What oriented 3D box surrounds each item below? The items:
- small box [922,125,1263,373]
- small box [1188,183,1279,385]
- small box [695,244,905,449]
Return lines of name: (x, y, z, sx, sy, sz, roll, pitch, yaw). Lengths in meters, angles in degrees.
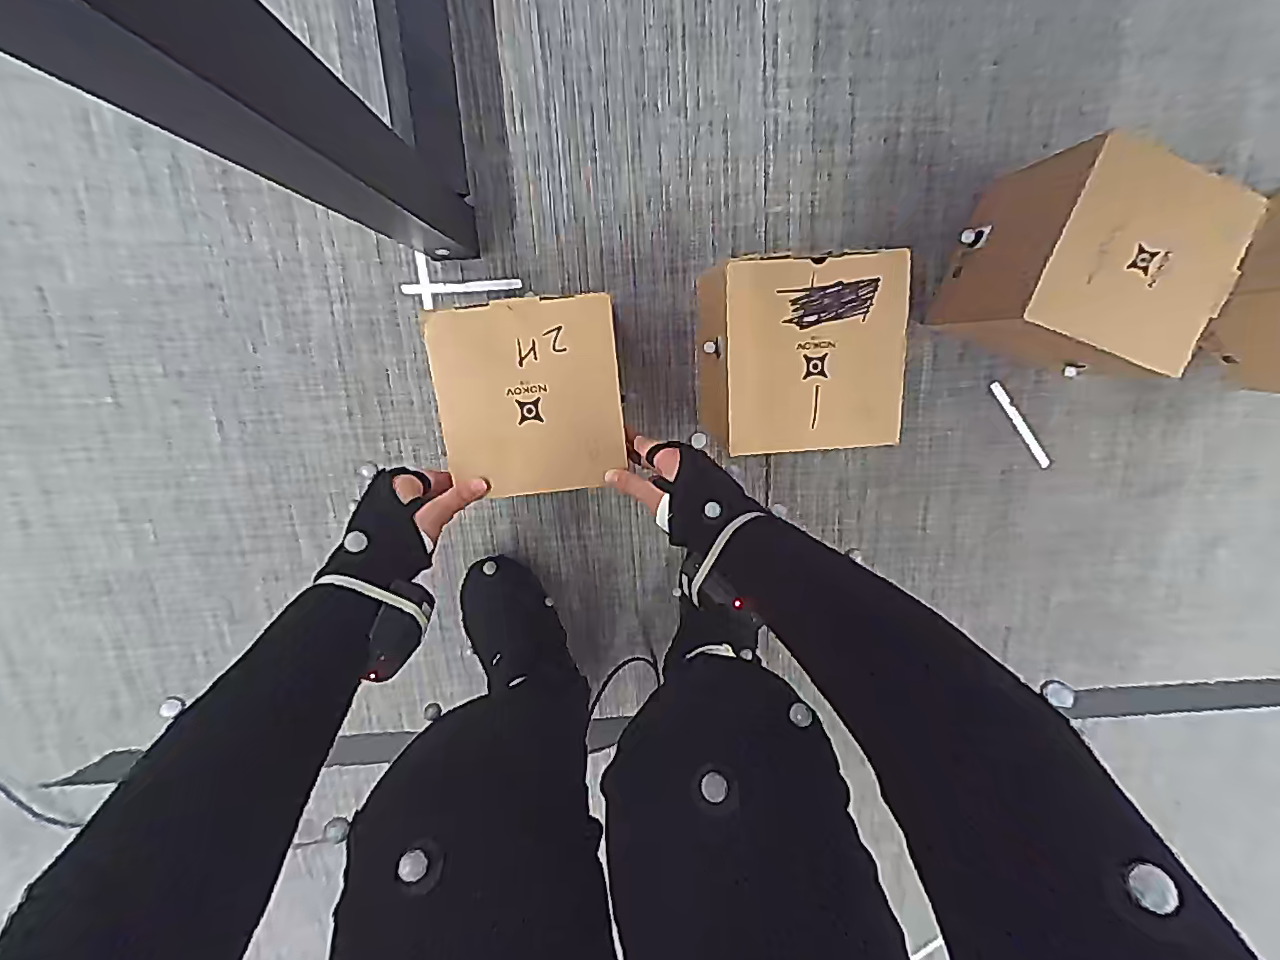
small box: (0.443, -0.223, 0.563, 0.179, 0.176, 0.168, 18, 103, -6)
small box: (0.745, -0.217, 0.577, 0.168, 0.176, 0.179, 39, 99, -11)
small box: (0.152, -0.138, 0.569, 0.168, 0.176, 0.179, -4, 106, -1)
